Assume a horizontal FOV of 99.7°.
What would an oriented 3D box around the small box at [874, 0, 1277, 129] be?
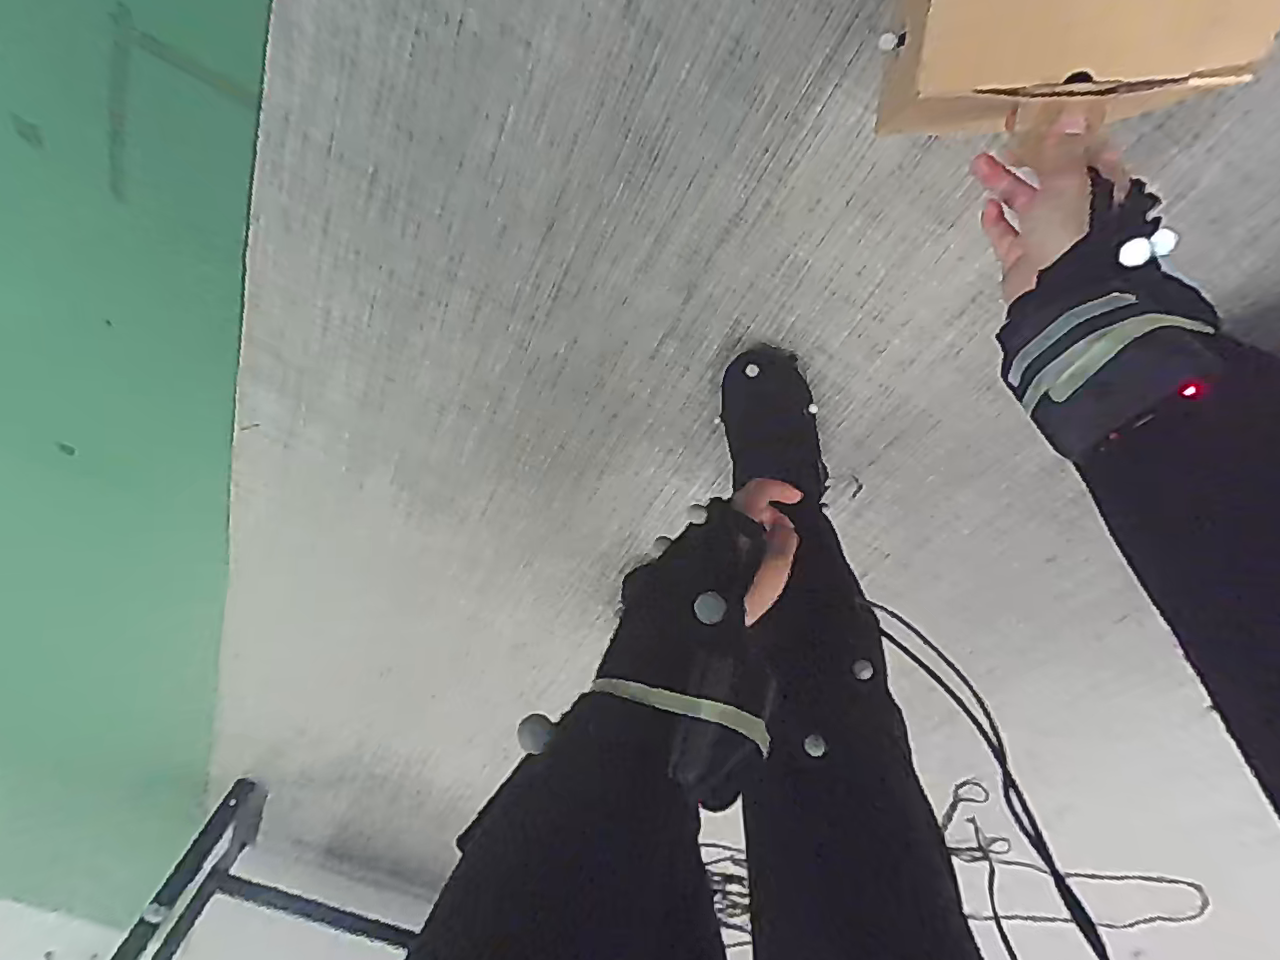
[{"bbox_3d":[0.249,-0.326,0.327,0.168,0.176,0.179,4,115,12],"label":"small box"}]
